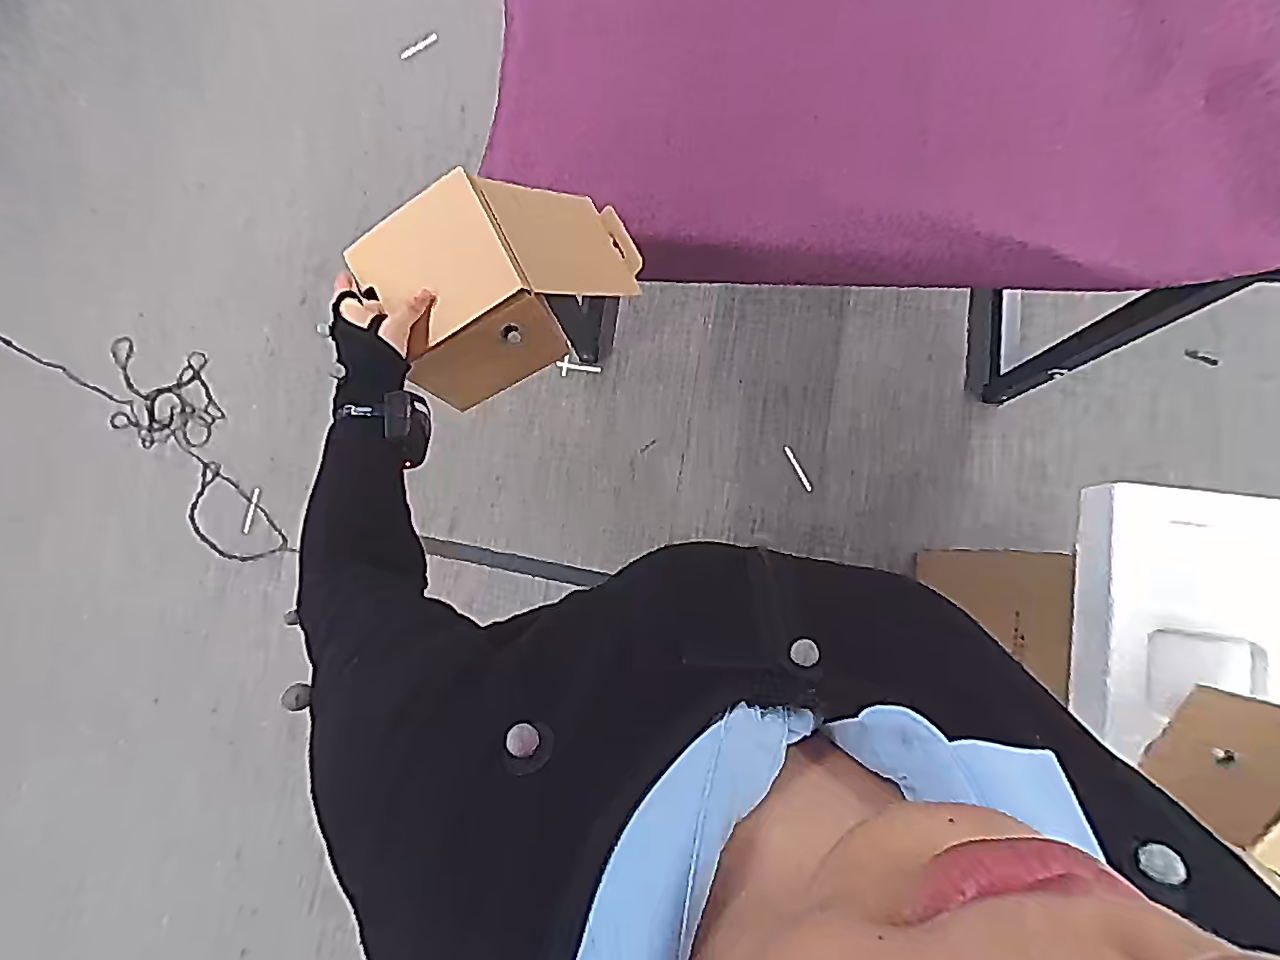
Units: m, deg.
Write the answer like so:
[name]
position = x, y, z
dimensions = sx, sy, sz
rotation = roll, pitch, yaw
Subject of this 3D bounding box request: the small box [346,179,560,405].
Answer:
[small box]
position = -0.215, -0.220, 0.675
dimensions = 0.179, 0.176, 0.168
rotation = -28, 78, 3
